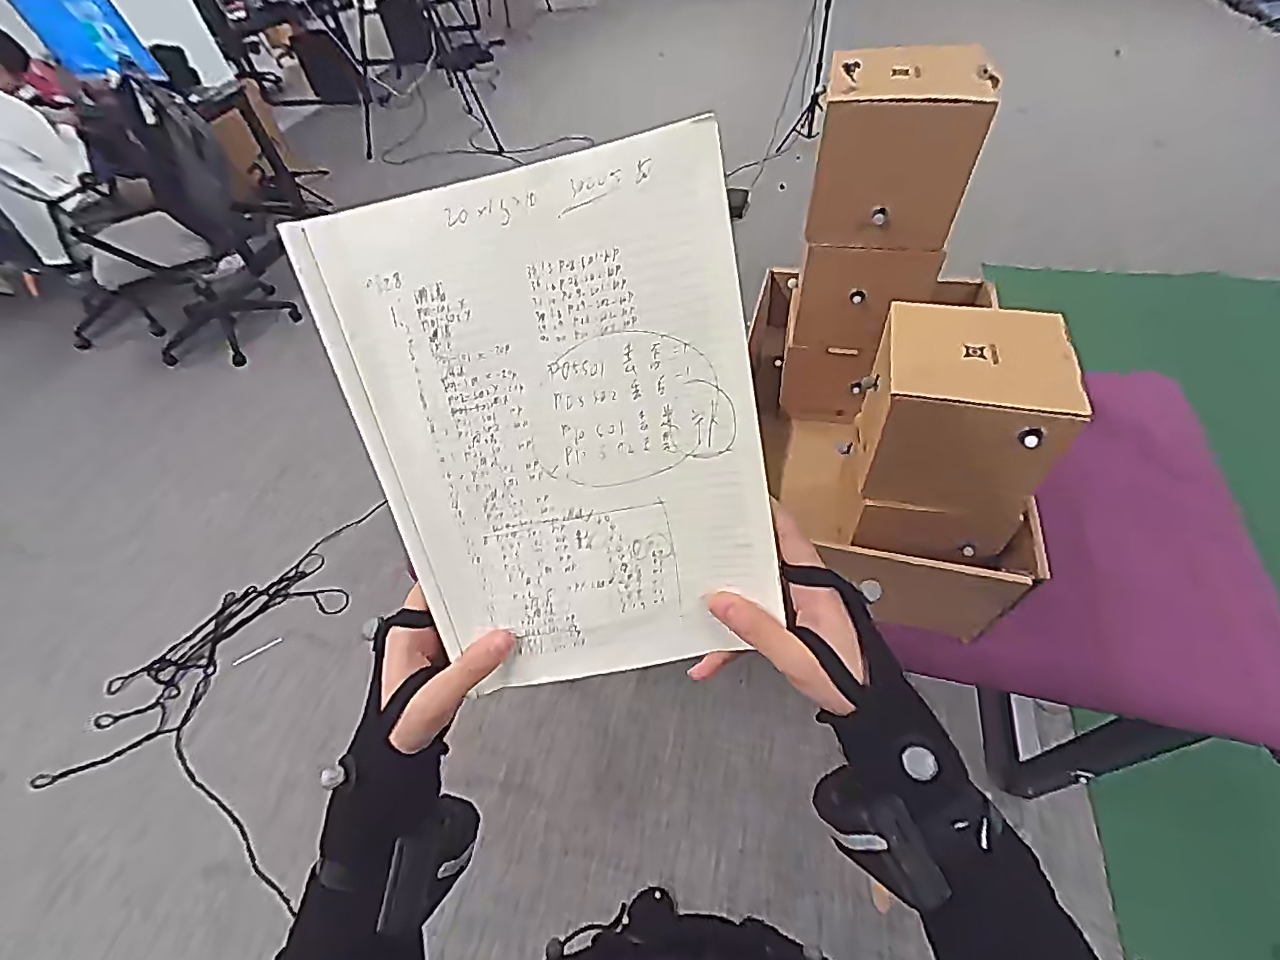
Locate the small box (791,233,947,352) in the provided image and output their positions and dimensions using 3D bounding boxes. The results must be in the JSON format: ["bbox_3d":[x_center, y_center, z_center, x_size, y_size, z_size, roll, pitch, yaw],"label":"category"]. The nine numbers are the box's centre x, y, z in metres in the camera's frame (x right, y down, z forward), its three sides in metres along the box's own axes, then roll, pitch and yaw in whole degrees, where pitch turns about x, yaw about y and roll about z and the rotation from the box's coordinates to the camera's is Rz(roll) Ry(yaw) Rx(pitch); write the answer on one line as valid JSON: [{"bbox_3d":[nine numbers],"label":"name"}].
[{"bbox_3d":[0.335,-0.312,0.818,0.179,0.176,0.168,7,53,12],"label":"small box"}]

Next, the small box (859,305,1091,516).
[{"bbox_3d":[0.360,-0.078,0.622,0.179,0.176,0.168,10,52,14],"label":"small box"}]

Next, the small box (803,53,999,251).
[{"bbox_3d":[0.320,-0.415,0.691,0.179,0.176,0.168,10,54,12],"label":"small box"}]
